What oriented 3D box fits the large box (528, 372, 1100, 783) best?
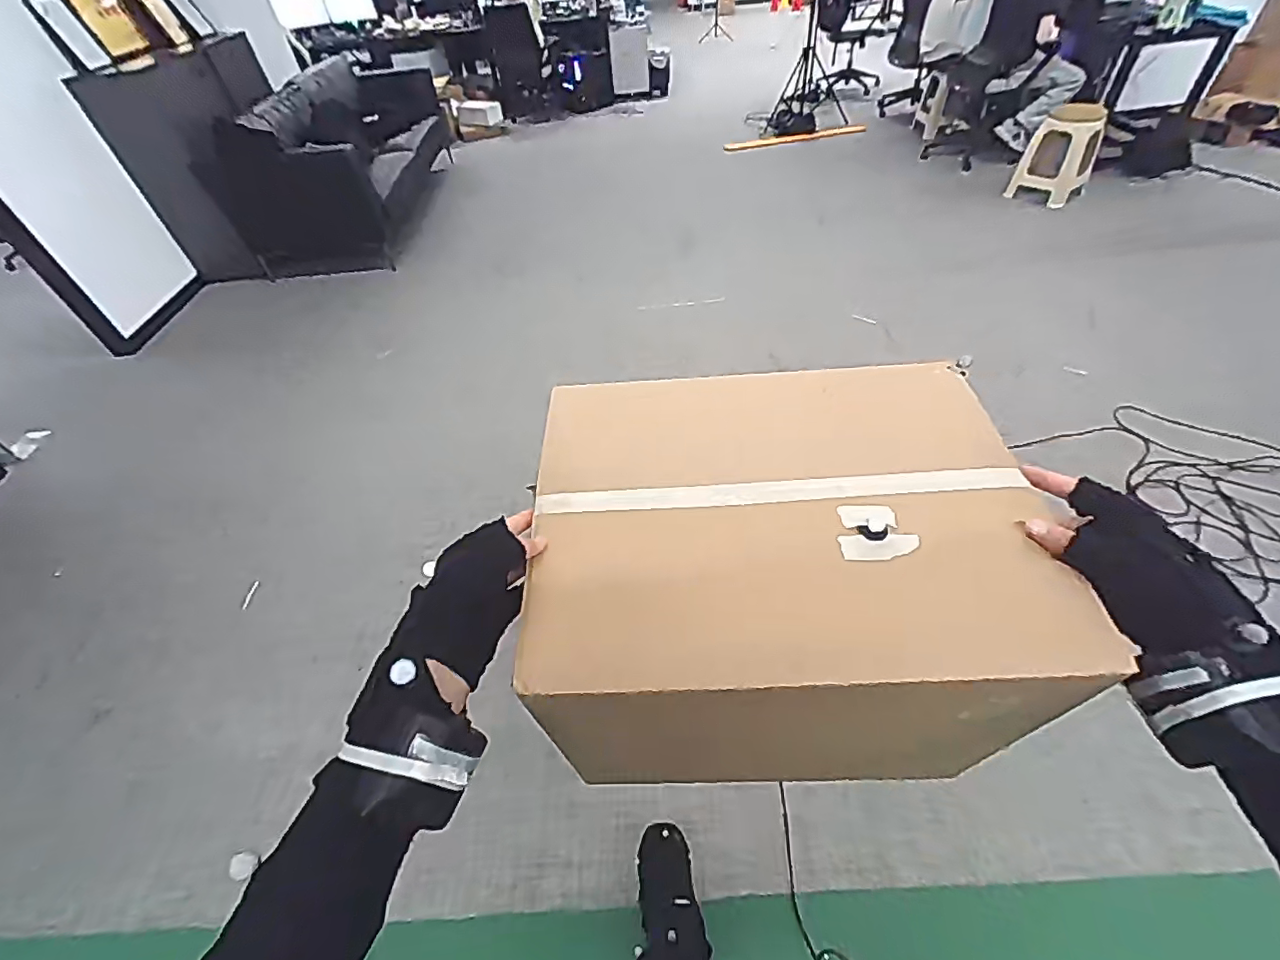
[{"bbox_3d":[0.123,0.115,0.581,0.408,0.320,0.320,-4,51,3],"label":"large box"}]
